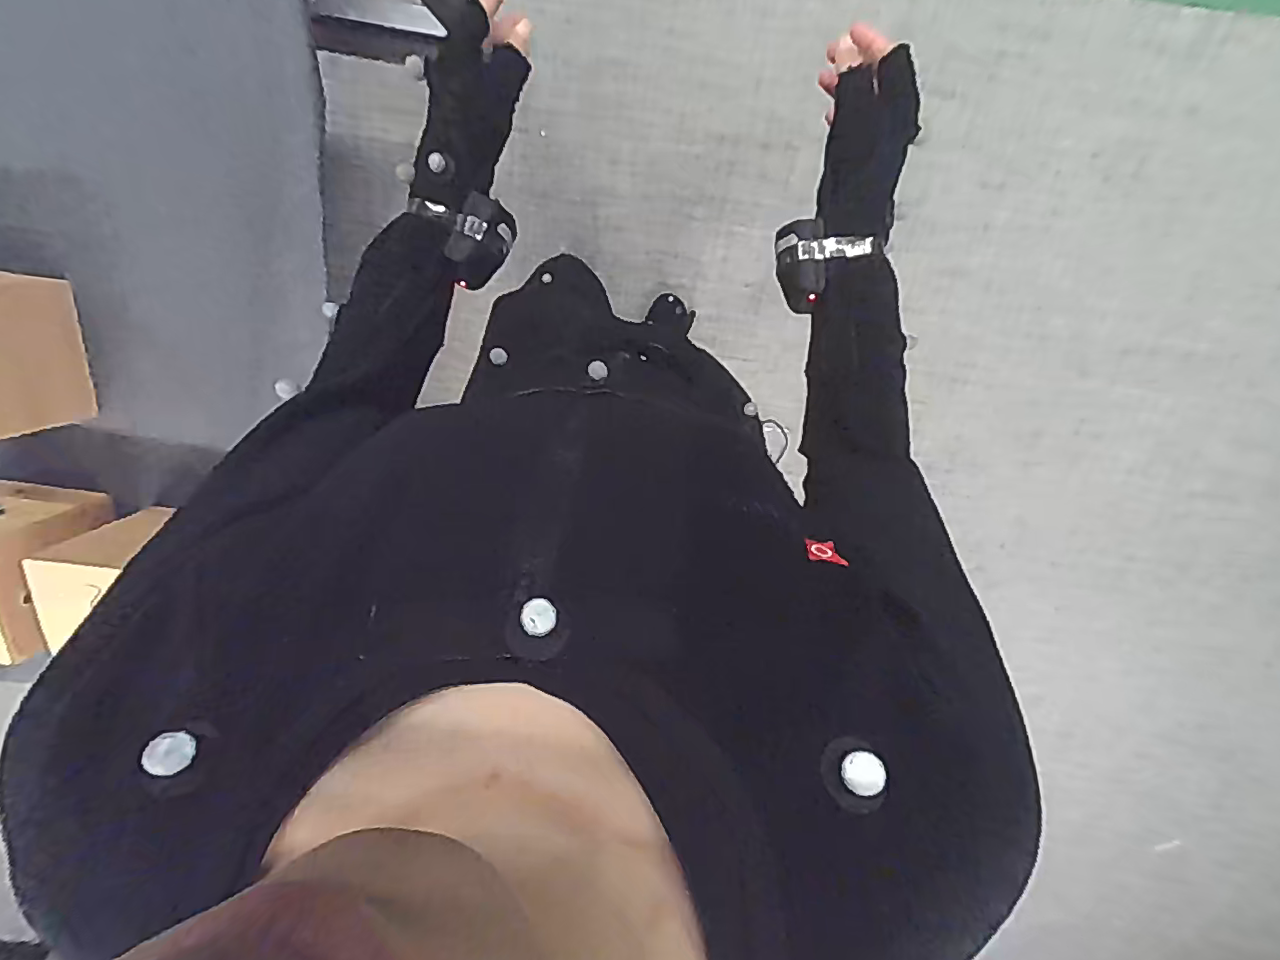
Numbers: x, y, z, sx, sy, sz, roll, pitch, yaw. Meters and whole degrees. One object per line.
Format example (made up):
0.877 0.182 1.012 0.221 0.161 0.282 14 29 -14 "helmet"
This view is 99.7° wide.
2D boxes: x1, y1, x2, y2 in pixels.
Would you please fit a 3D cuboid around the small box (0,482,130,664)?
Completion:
-0.851 0.115 0.725 0.168 0.176 0.179 7 111 0 "small box"
